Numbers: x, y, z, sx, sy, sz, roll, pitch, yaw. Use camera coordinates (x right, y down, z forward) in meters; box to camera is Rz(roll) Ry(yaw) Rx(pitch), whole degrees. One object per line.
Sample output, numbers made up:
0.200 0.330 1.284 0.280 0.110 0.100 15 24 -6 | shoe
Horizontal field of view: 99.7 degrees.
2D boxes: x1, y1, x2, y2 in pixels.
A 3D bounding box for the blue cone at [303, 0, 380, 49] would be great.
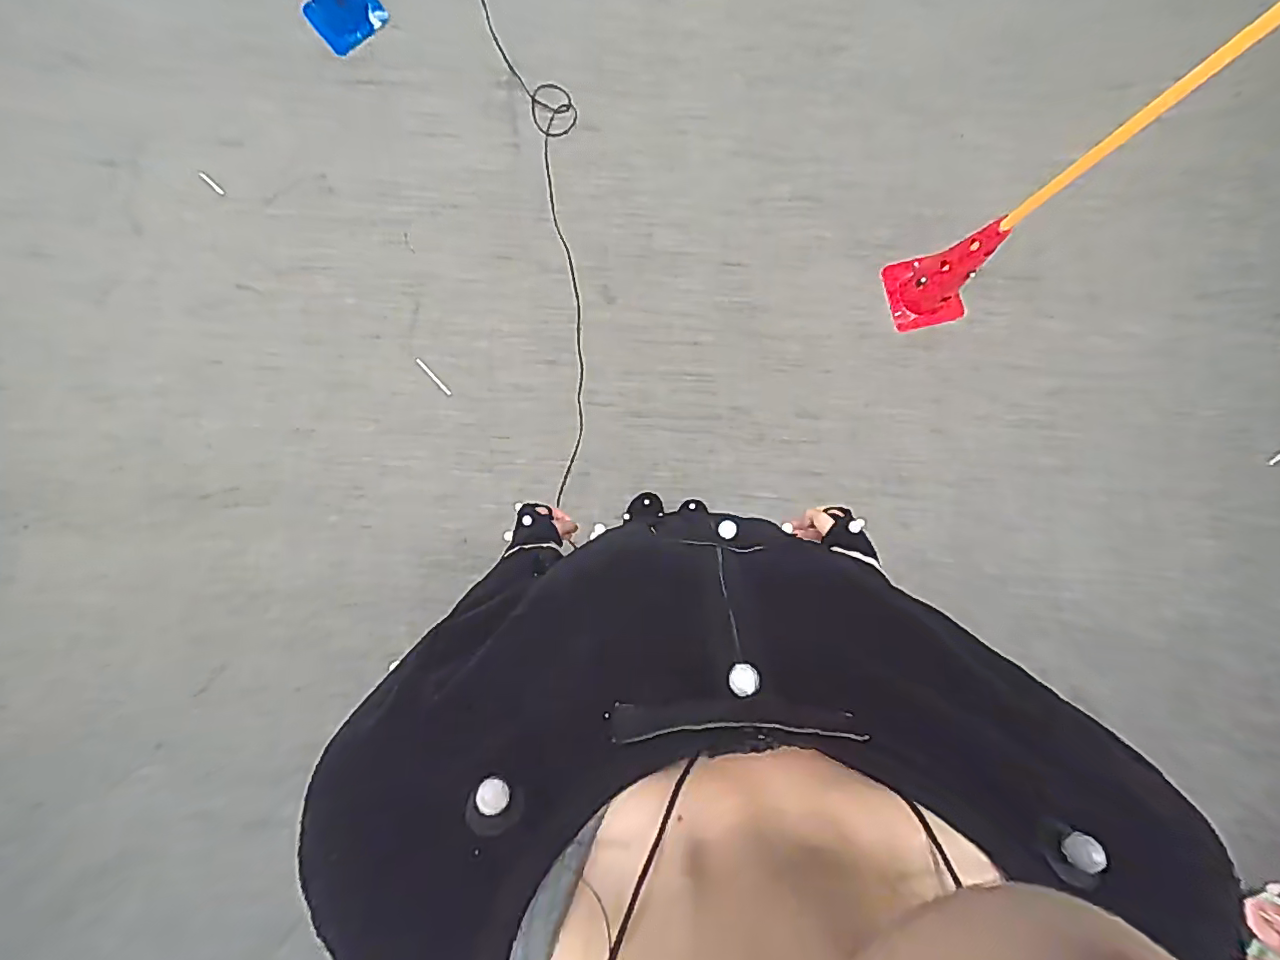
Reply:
-0.882 -1.387 1.427 0.193 0.380 0.192 -41 88 1 | blue cone
